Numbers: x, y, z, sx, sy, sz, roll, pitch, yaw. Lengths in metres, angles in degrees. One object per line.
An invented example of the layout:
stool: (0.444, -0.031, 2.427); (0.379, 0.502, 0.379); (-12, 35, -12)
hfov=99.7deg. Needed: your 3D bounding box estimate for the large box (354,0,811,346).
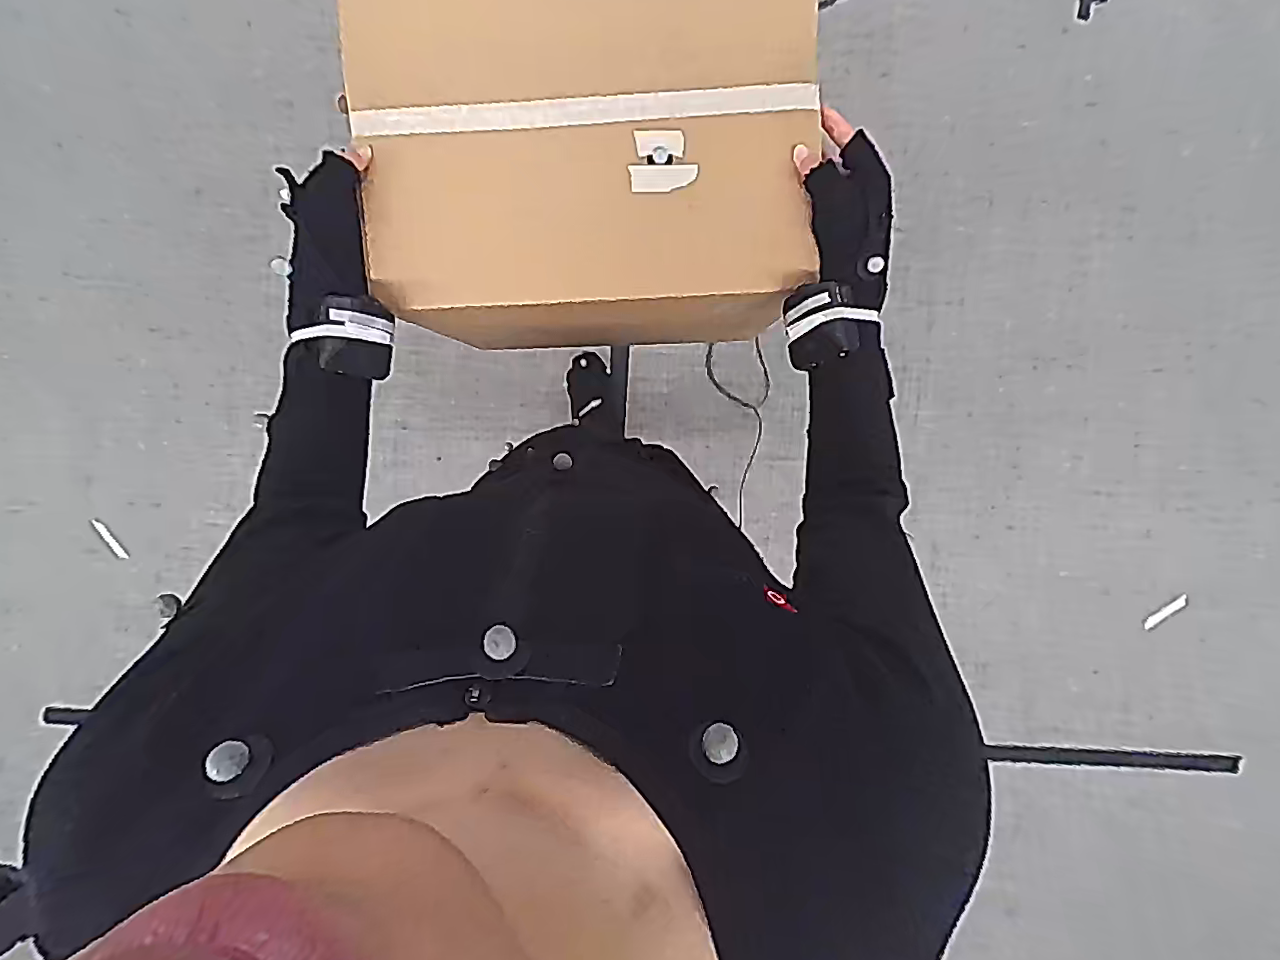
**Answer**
large box: (-0.048, -0.345, 0.632); (0.408, 0.320, 0.320); (-3, 97, 1)
